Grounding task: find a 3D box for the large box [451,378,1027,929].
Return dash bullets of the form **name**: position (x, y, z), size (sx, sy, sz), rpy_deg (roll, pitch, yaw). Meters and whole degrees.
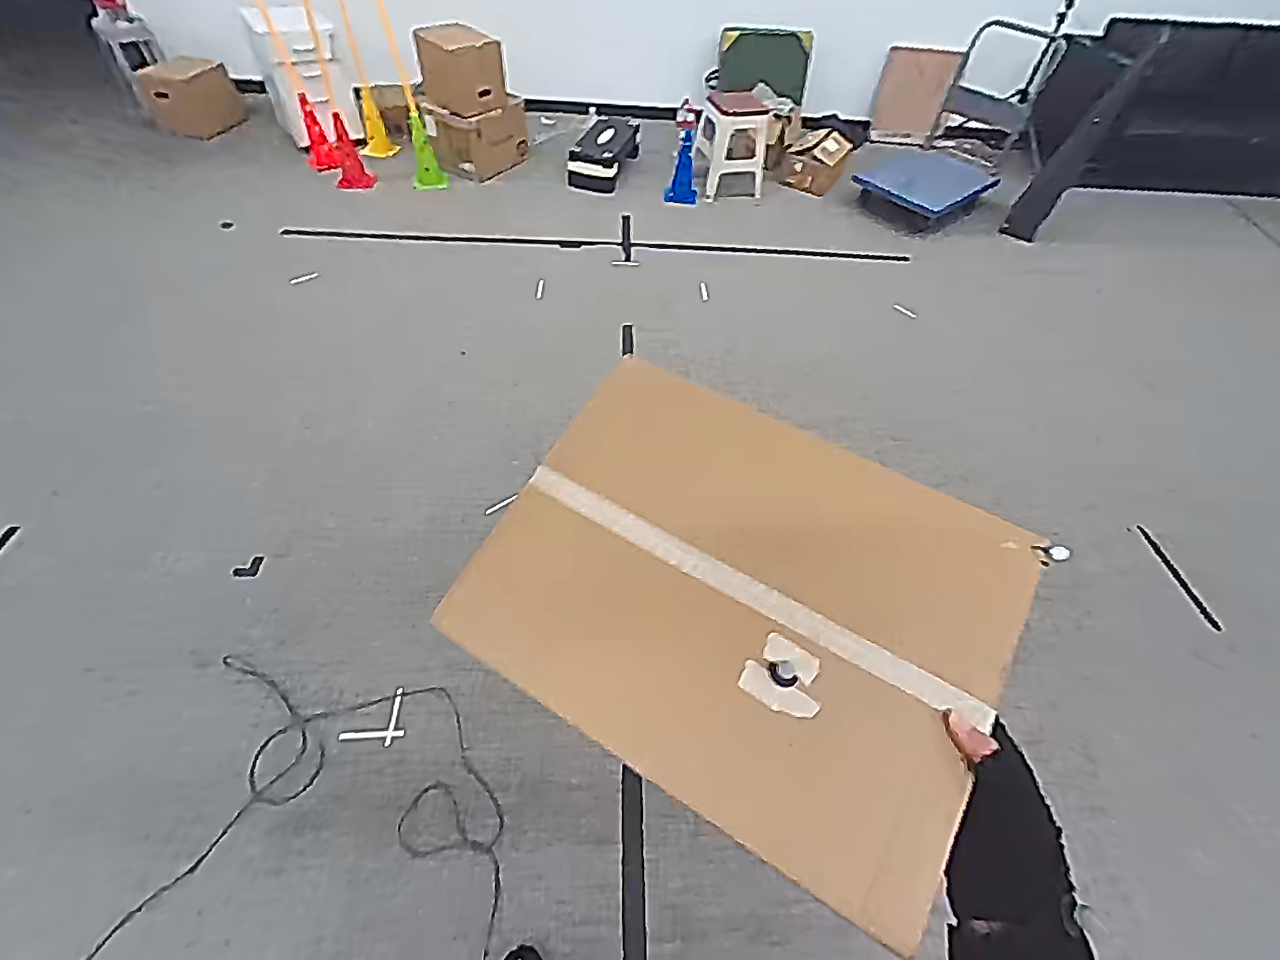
- **large box**: position (0.091, 0.158, 0.591), size (0.408, 0.320, 0.320), rpy_deg (27, 70, 17)
